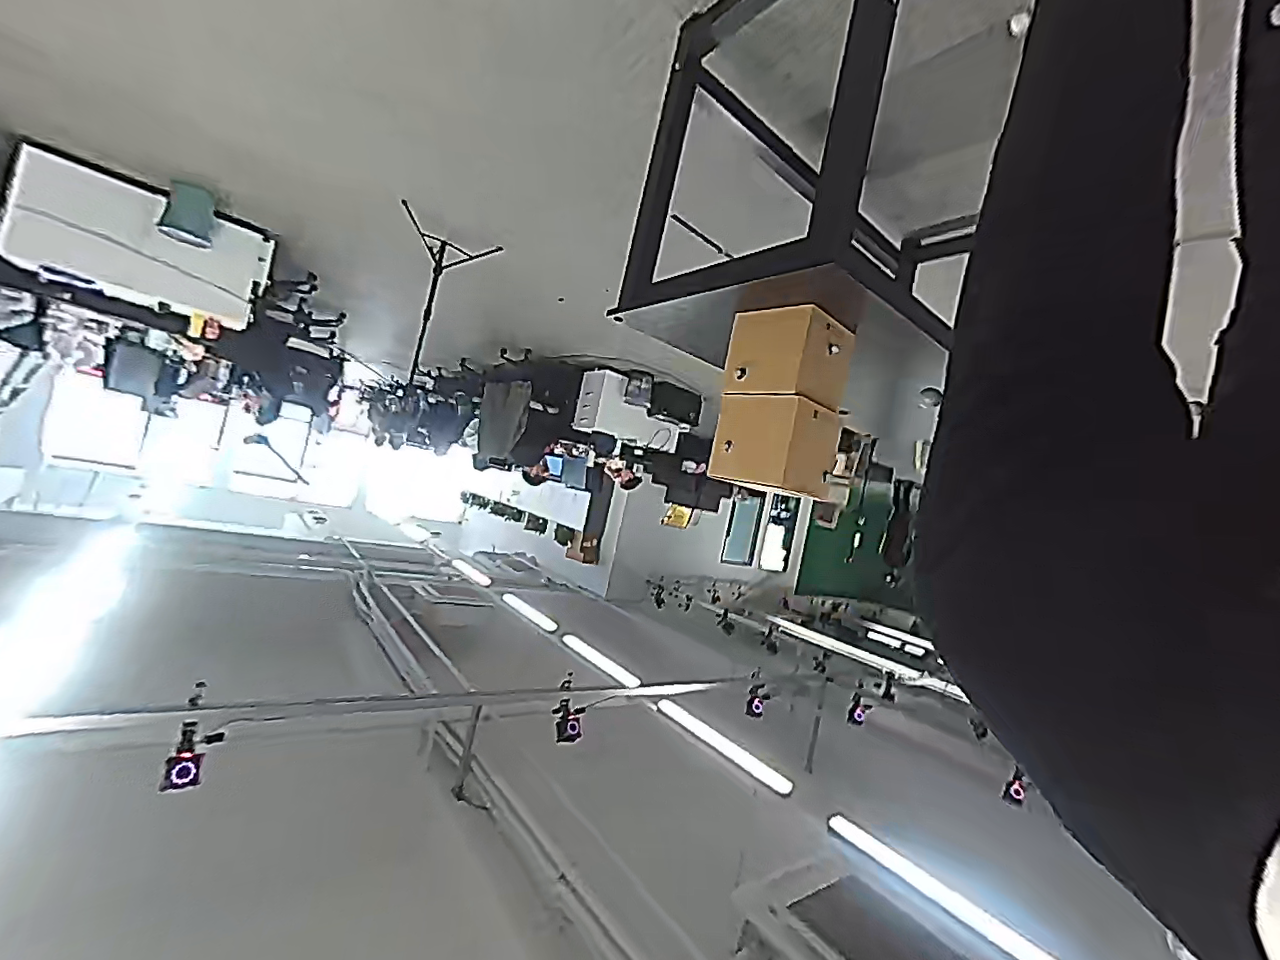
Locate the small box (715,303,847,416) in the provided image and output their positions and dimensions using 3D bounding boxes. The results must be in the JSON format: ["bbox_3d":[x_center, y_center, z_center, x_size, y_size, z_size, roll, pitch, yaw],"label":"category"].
[{"bbox_3d":[0.277,-0.231,1.058,0.168,0.176,0.179,12,179,-43],"label":"small box"}]
